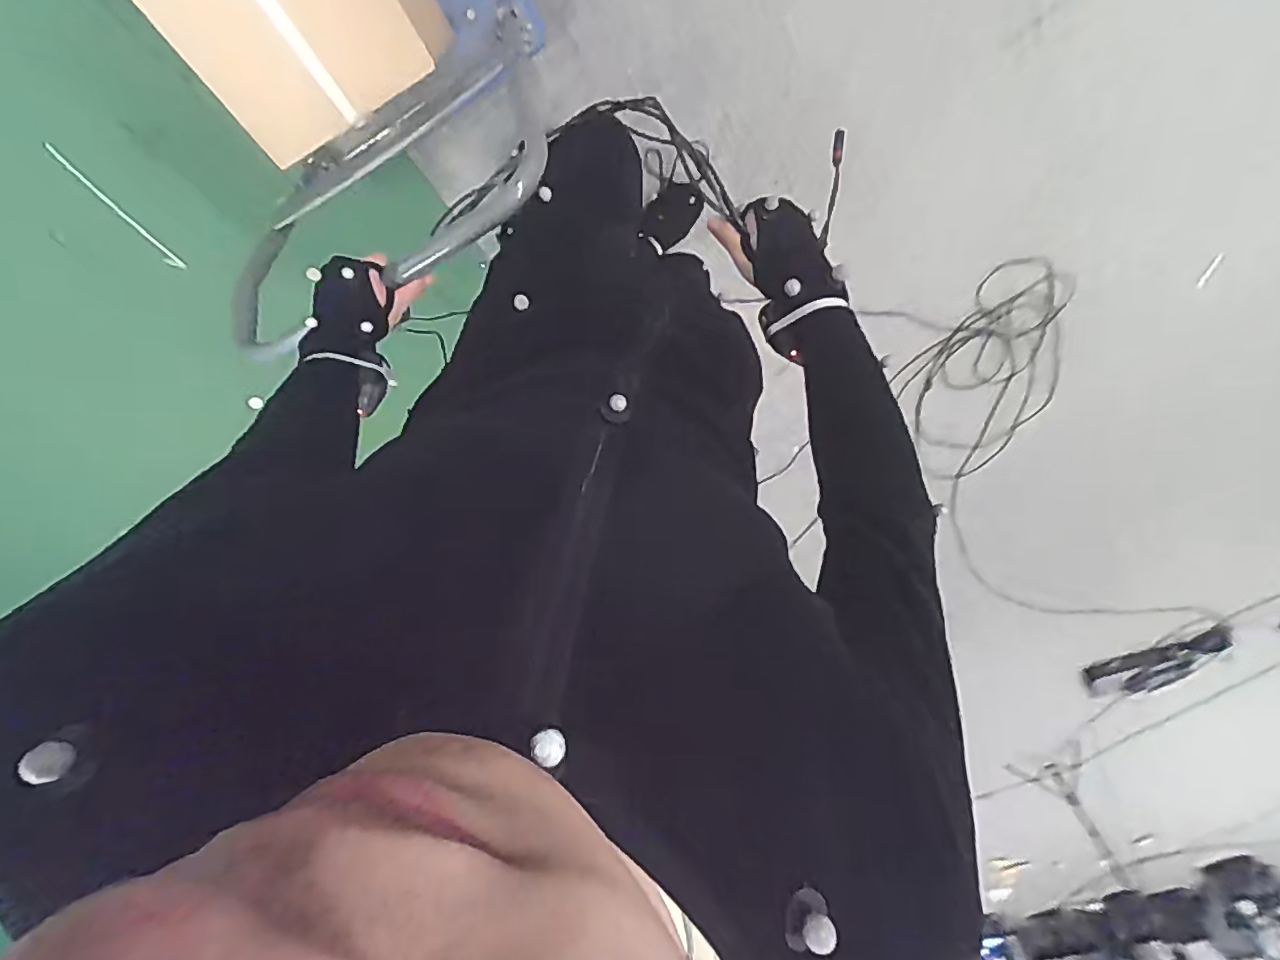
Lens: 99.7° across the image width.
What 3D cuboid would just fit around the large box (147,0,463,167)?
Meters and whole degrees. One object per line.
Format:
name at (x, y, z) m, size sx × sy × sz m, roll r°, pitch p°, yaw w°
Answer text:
large box at (-0.536, -0.791, 0.828) m, size 0.320 × 0.320 × 0.408 m, roll -23°, pitch 134°, yaw 12°
